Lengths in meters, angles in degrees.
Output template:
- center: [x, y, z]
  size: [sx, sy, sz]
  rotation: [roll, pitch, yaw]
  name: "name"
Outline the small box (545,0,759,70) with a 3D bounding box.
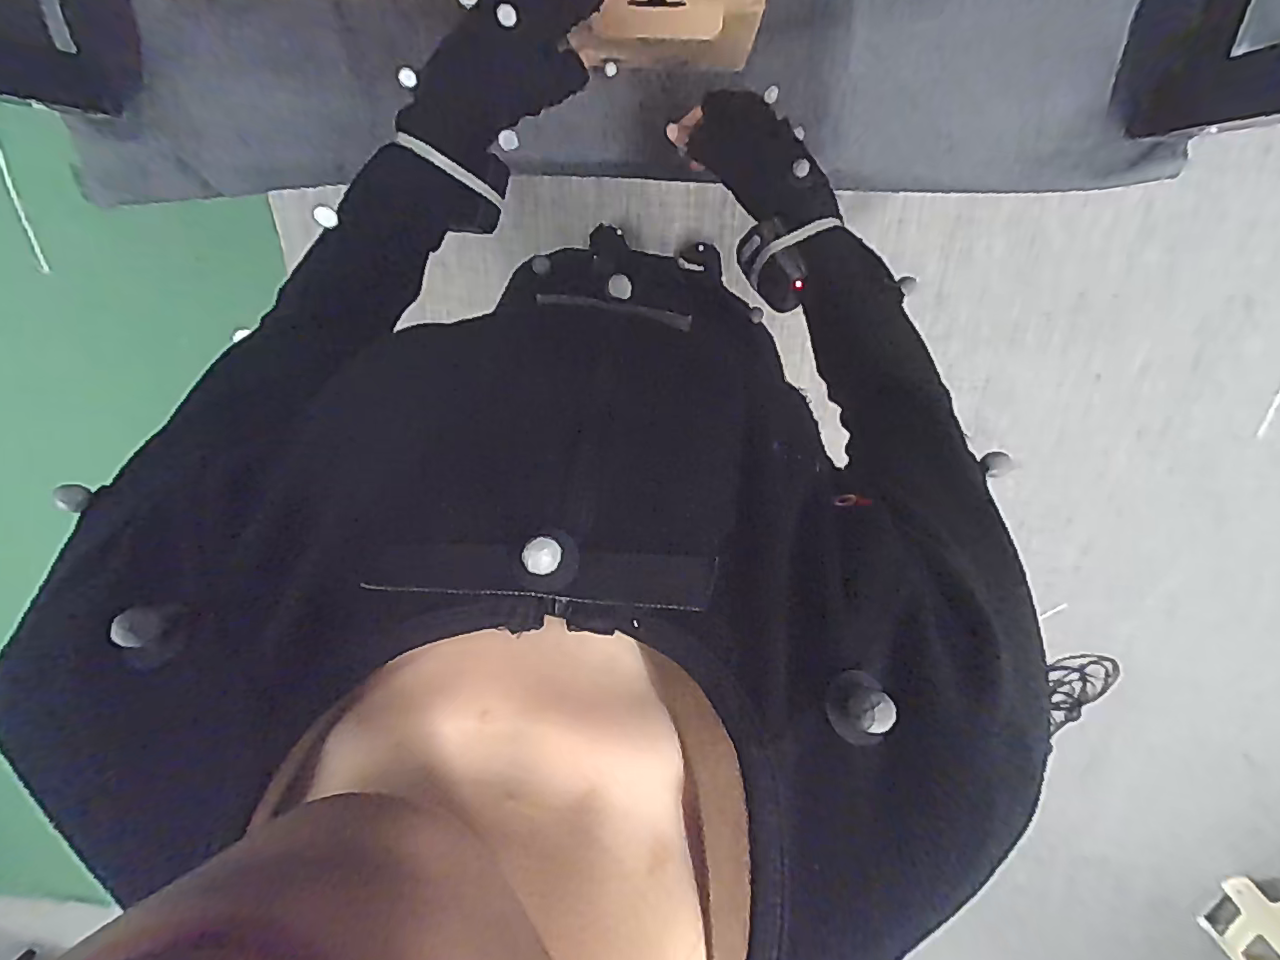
- center: [0.018, -0.463, 0.444]
  size: [0.168, 0.176, 0.179]
  rotation: [3, 113, 3]
  name: "small box"
